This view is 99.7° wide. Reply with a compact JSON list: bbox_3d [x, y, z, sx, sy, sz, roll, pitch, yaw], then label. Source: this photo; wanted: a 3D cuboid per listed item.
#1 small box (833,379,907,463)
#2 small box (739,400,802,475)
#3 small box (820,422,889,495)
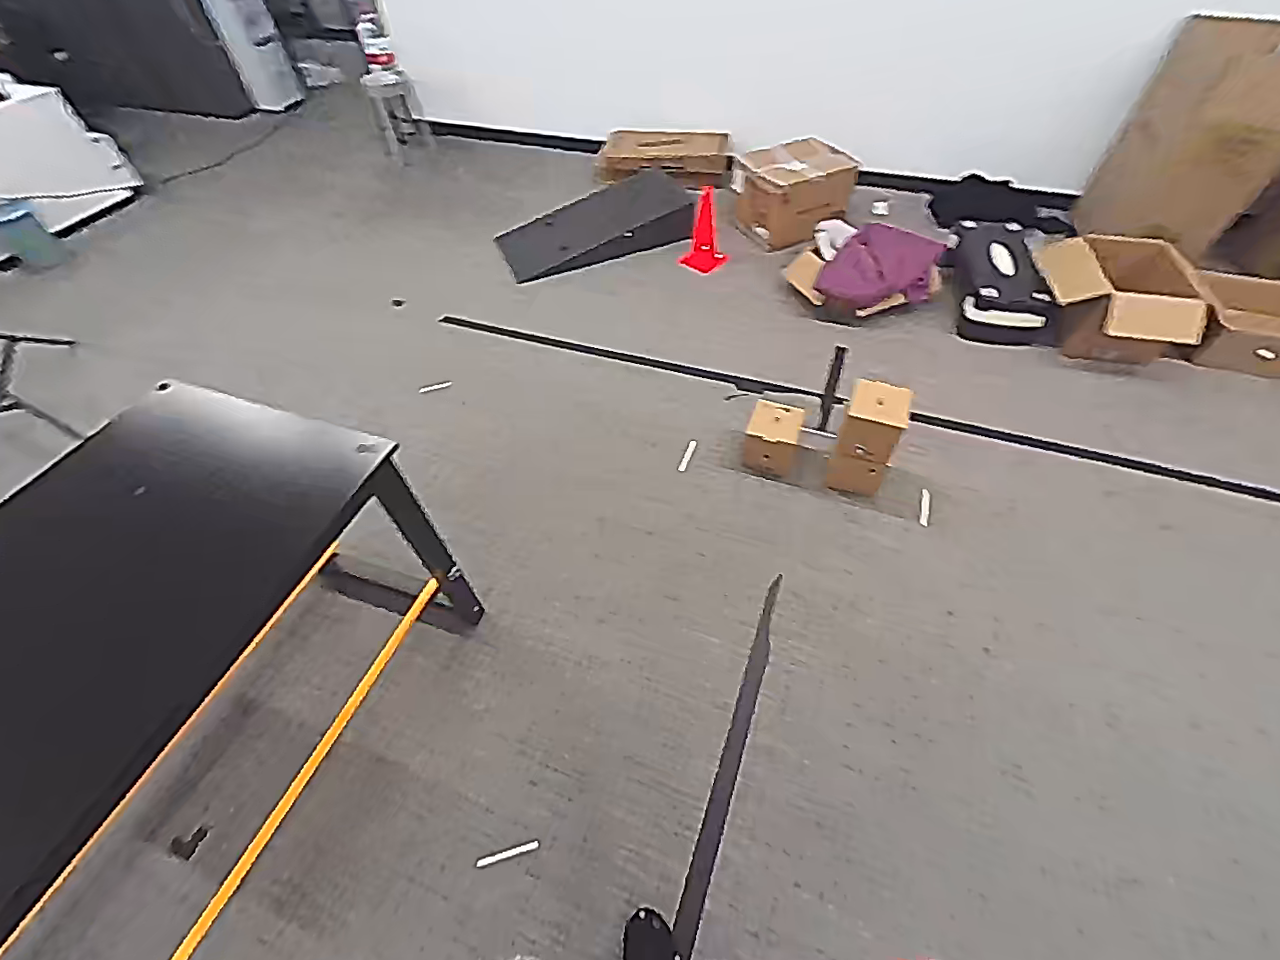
[{"bbox_3d":[0.715,-0.183,1.689,0.168,0.176,0.179,16,55,15],"label":"small box"},{"bbox_3d":[0.448,-0.144,1.875,0.168,0.176,0.179,17,55,15],"label":"small box"},{"bbox_3d":[0.719,-0.072,1.809,0.179,0.176,0.168,15,54,13],"label":"small box"}]
